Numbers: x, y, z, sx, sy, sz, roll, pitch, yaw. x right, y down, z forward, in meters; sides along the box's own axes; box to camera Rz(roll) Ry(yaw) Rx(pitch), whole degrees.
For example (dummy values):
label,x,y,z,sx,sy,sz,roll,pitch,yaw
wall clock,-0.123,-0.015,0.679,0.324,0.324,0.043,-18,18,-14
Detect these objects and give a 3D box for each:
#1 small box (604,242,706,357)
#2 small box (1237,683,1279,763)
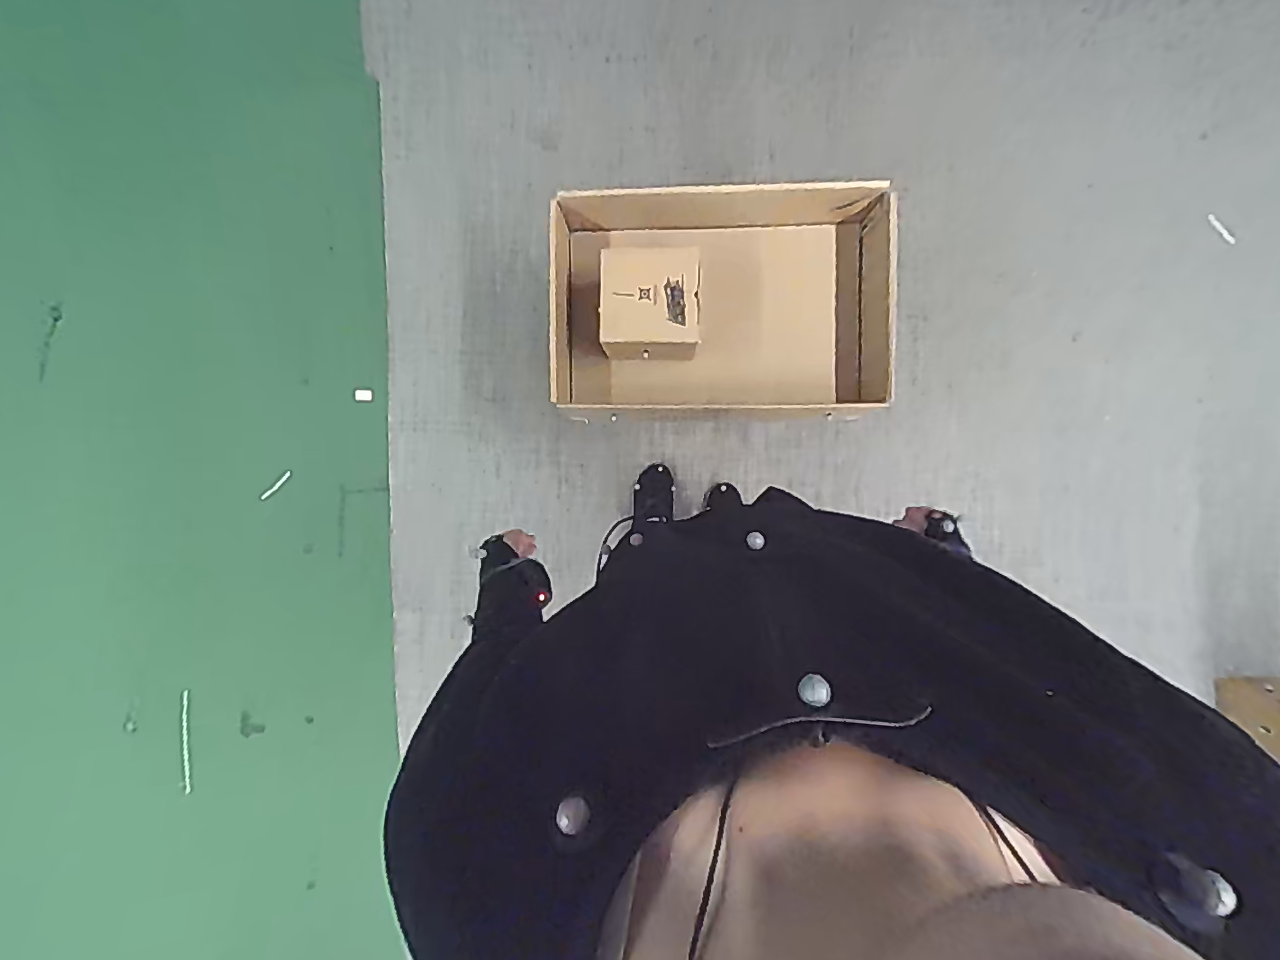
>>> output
label,x,y,z,sx,sy,sz,roll,pitch,yaw
small box,0.029,-0.331,1.014,0.179,0.176,0.168,1,91,4
small box,1.652,0.616,1.343,0.168,0.176,0.179,-2,91,4
